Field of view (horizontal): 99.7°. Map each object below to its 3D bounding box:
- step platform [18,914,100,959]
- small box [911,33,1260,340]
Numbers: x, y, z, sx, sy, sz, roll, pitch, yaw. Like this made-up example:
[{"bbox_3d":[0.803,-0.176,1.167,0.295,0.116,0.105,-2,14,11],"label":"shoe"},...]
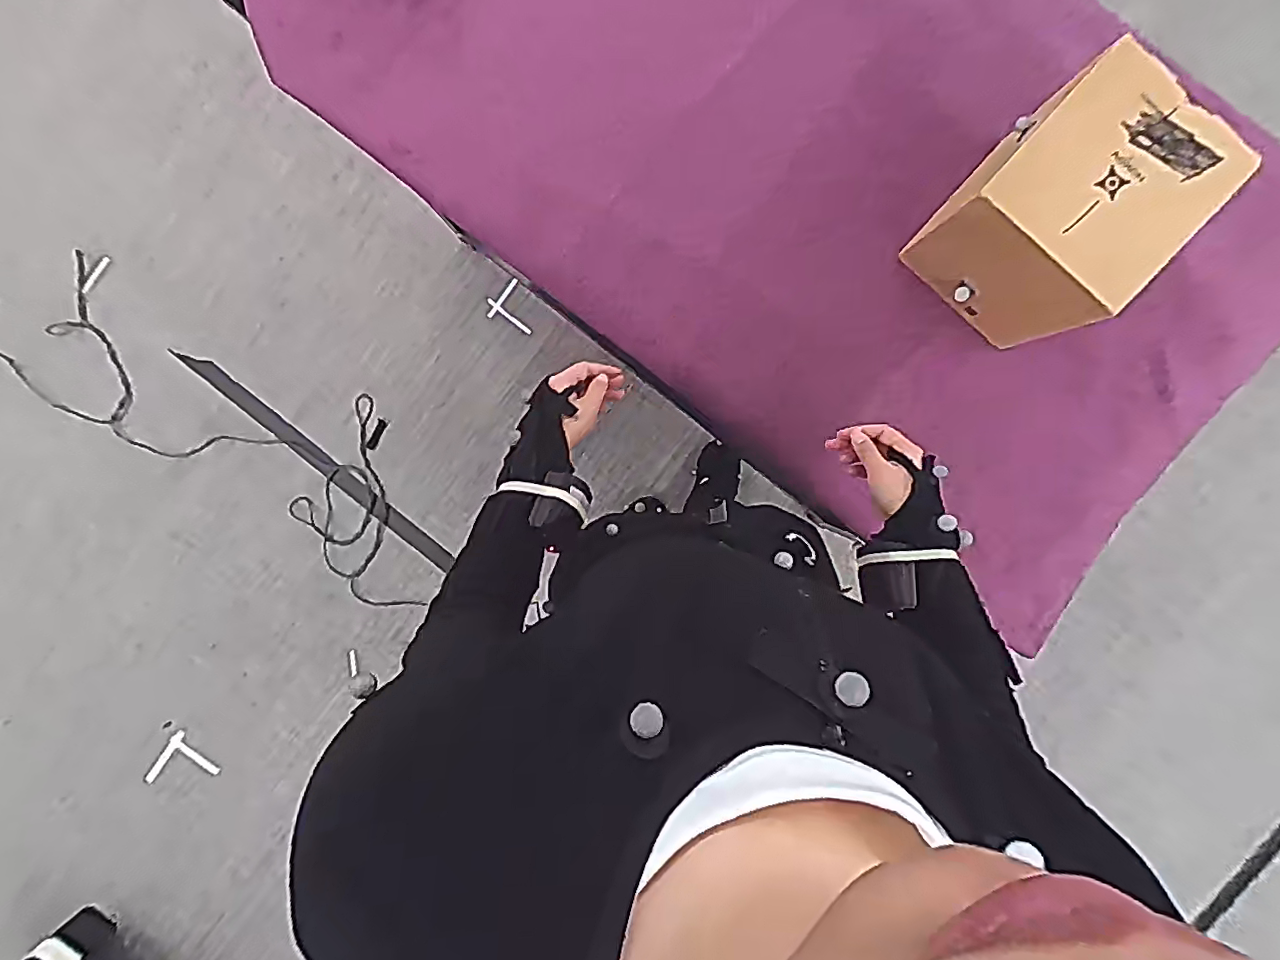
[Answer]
[{"bbox_3d":[-1.382,1.499,1.408,0.684,0.204,0.286,38,94,-2],"label":"step platform"},{"bbox_3d":[0.420,-0.271,0.547,0.168,0.176,0.179,42,94,-1],"label":"small box"}]
